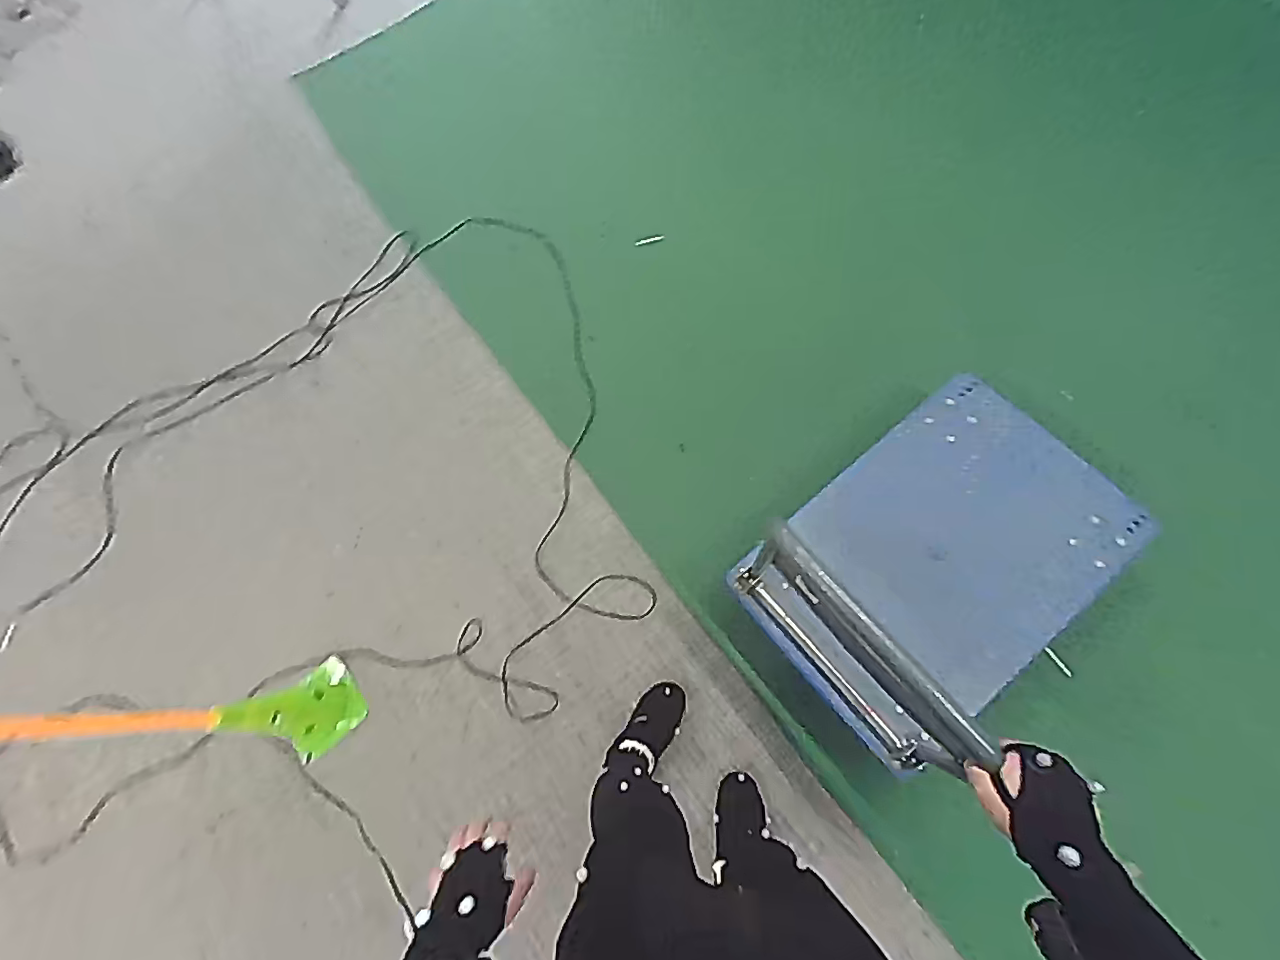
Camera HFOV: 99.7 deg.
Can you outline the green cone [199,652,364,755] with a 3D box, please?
[{"bbox_3d":[-0.885,0.543,1.303,0.200,0.368,0.202,-40,70,-8],"label":"green cone"}]
